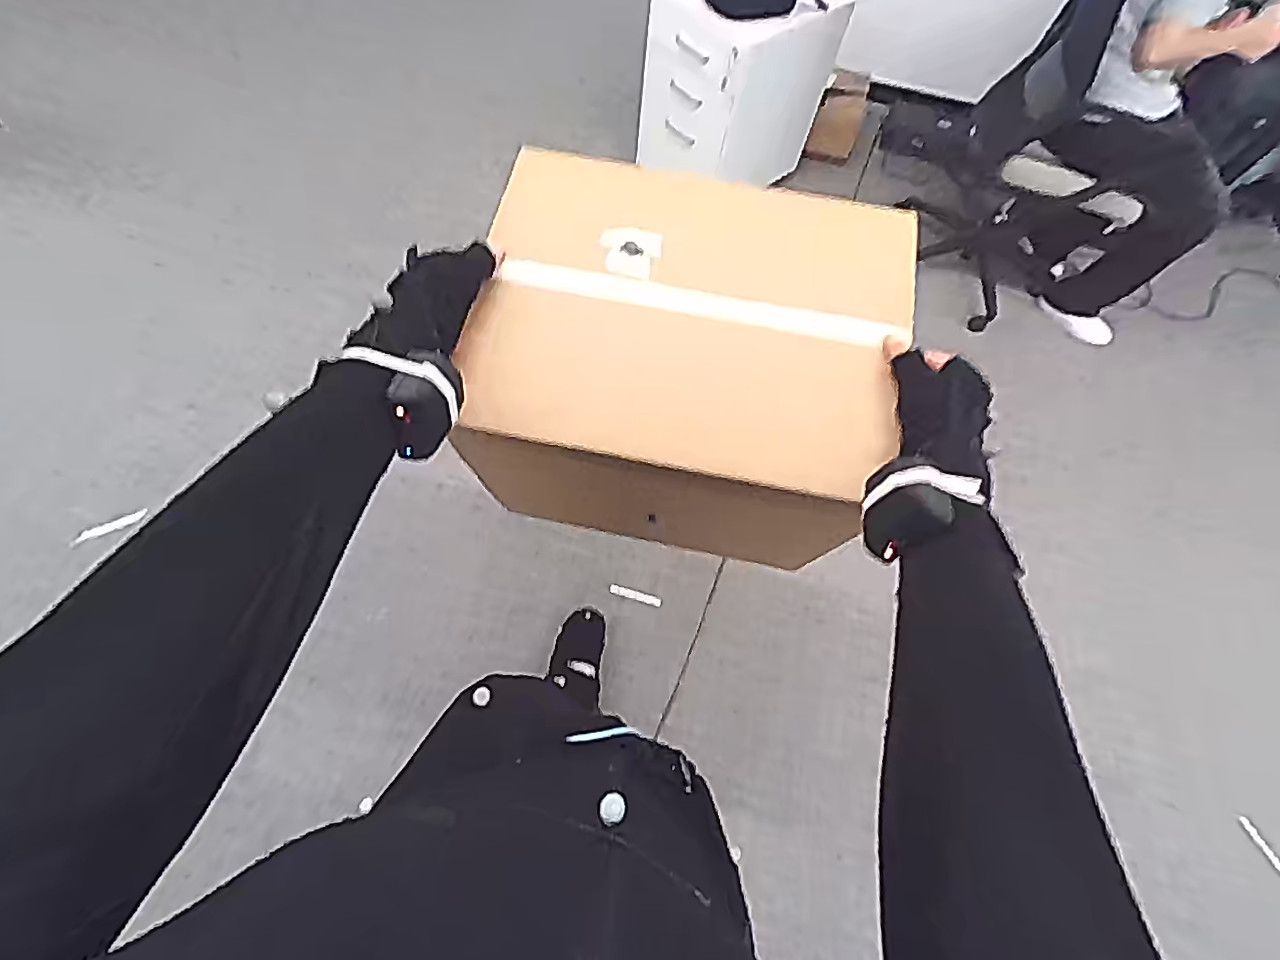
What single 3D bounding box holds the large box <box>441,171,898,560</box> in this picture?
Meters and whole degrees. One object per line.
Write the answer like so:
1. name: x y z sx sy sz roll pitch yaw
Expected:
1. large box: 0.045 -0.109 0.661 0.408 0.320 0.320 11 71 4
